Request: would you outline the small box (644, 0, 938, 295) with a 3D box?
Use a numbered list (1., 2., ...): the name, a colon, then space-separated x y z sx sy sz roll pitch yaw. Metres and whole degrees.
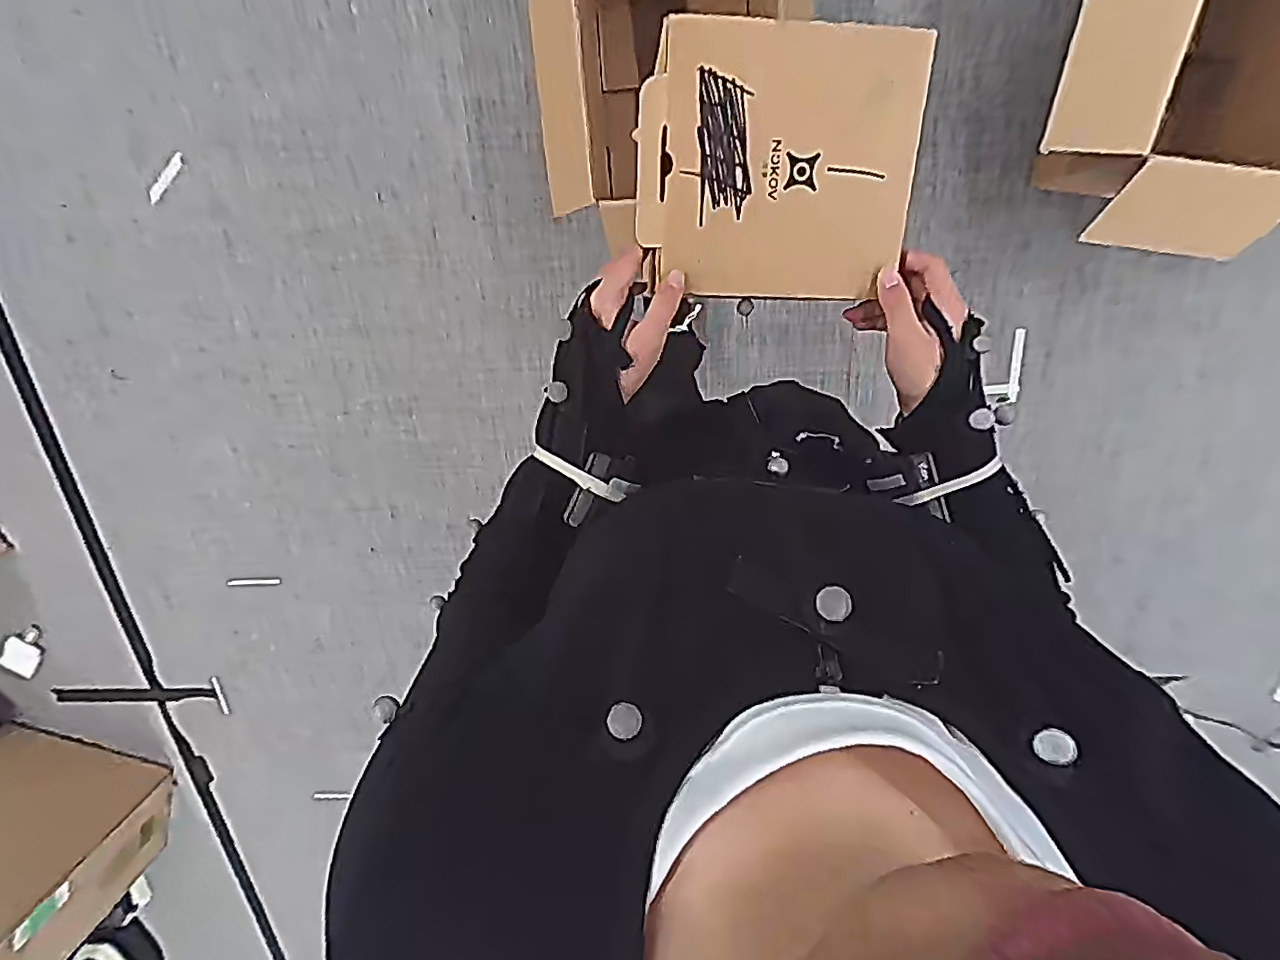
1. small box: 0.095 -0.239 0.435 0.179 0.176 0.168 0 109 -4
